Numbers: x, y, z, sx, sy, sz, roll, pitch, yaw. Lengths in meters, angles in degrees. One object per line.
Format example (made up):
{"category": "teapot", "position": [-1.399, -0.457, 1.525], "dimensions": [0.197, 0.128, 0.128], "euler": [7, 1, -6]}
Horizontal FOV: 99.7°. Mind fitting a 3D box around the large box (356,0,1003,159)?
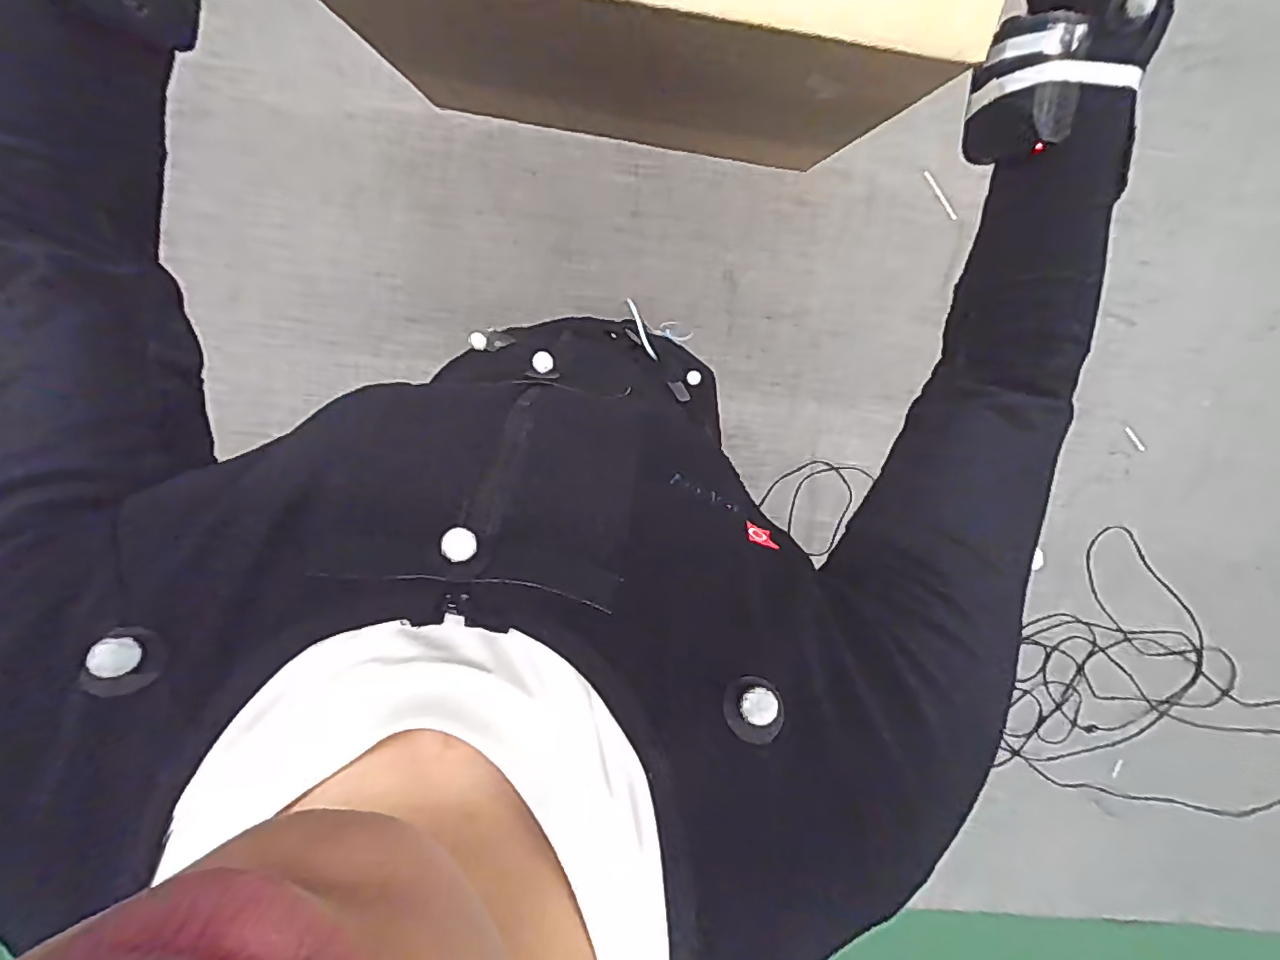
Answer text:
{"category": "large box", "position": [0.017, -0.461, 0.386], "dimensions": [0.408, 0.320, 0.320], "euler": [7, 110, -5]}
